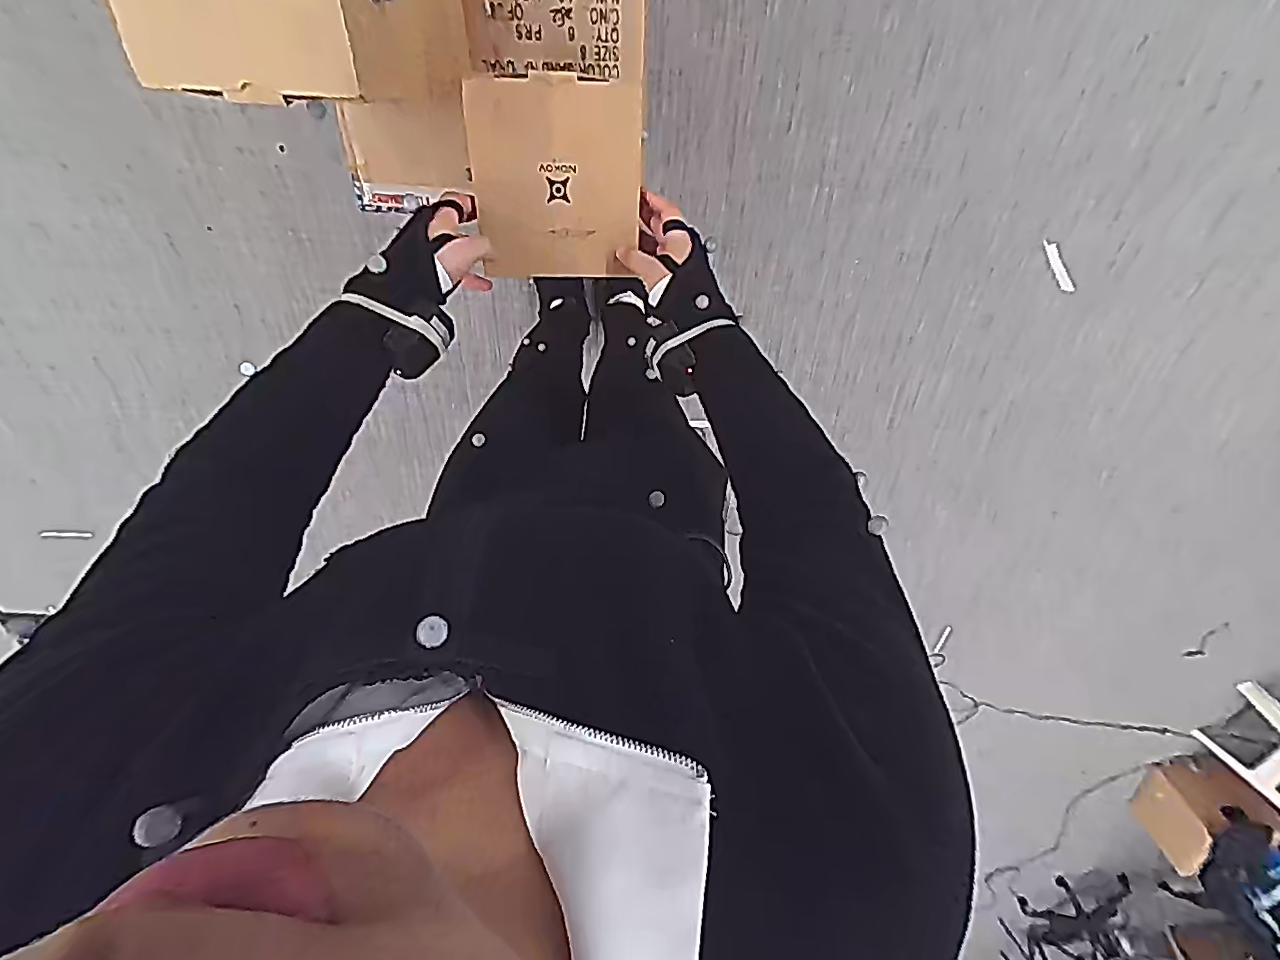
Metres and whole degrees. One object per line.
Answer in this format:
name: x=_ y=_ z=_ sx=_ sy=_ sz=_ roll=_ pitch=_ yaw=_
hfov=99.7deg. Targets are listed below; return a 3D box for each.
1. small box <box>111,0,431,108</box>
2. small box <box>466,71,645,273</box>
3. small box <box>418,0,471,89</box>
small box: x=-0.280 y=-0.402 z=0.419 sx=0.168 sy=0.176 sz=0.179 roll=2 pitch=127 yaw=-1
small box: x=-0.087 y=-0.341 z=0.603 sx=0.168 sy=0.176 sz=0.179 roll=-2 pitch=125 yaw=-5
small box: x=-0.284 y=-0.506 z=0.546 sx=0.168 sy=0.176 sz=0.179 roll=1 pitch=126 yaw=0
